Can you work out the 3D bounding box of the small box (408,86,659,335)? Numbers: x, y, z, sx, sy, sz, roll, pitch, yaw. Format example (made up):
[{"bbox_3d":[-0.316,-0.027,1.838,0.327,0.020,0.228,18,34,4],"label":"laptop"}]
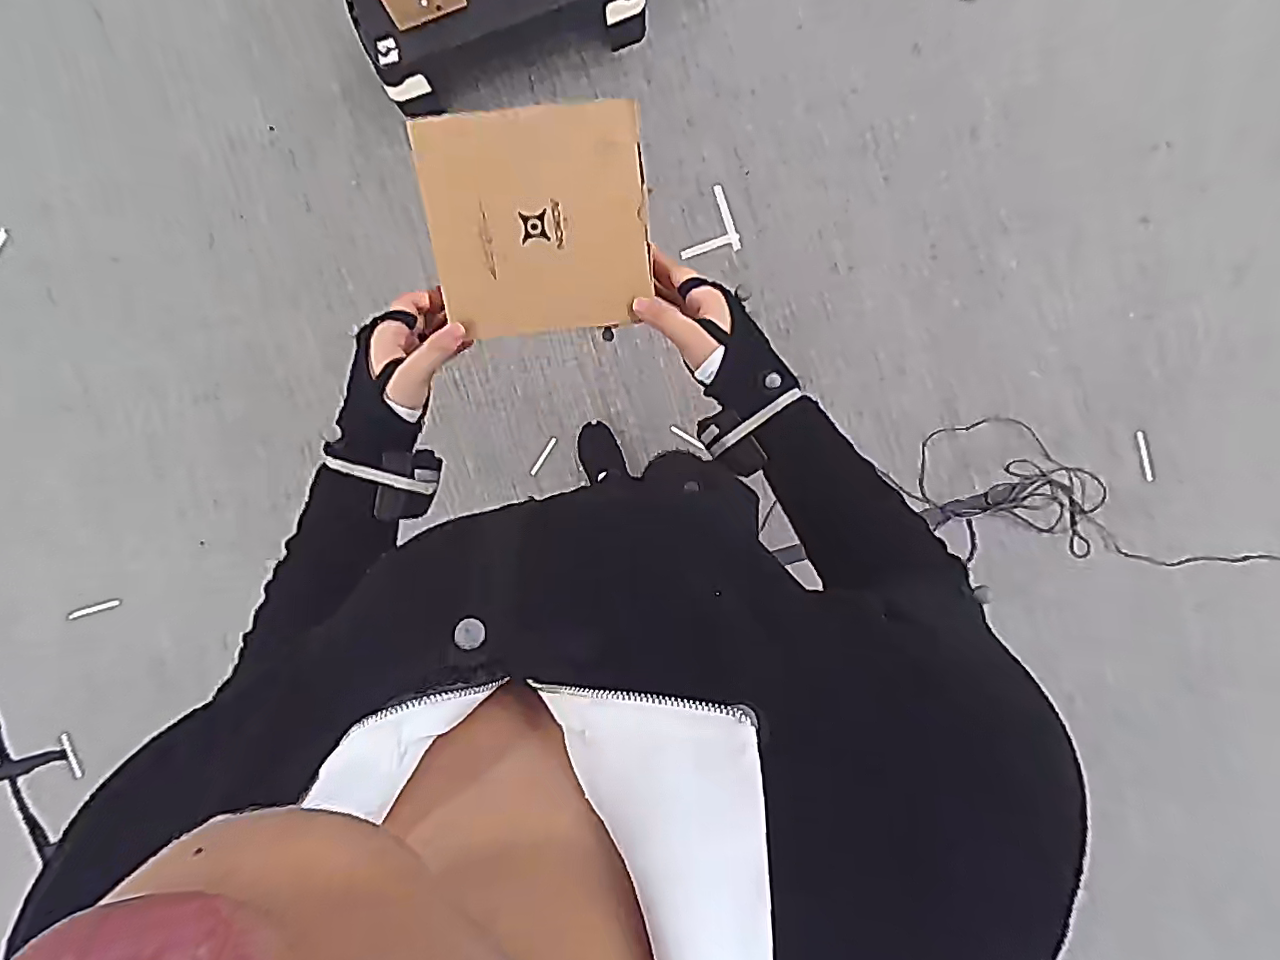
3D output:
[{"bbox_3d":[-0.083,-0.231,0.501,0.179,0.176,0.168,-7,106,0],"label":"small box"}]
